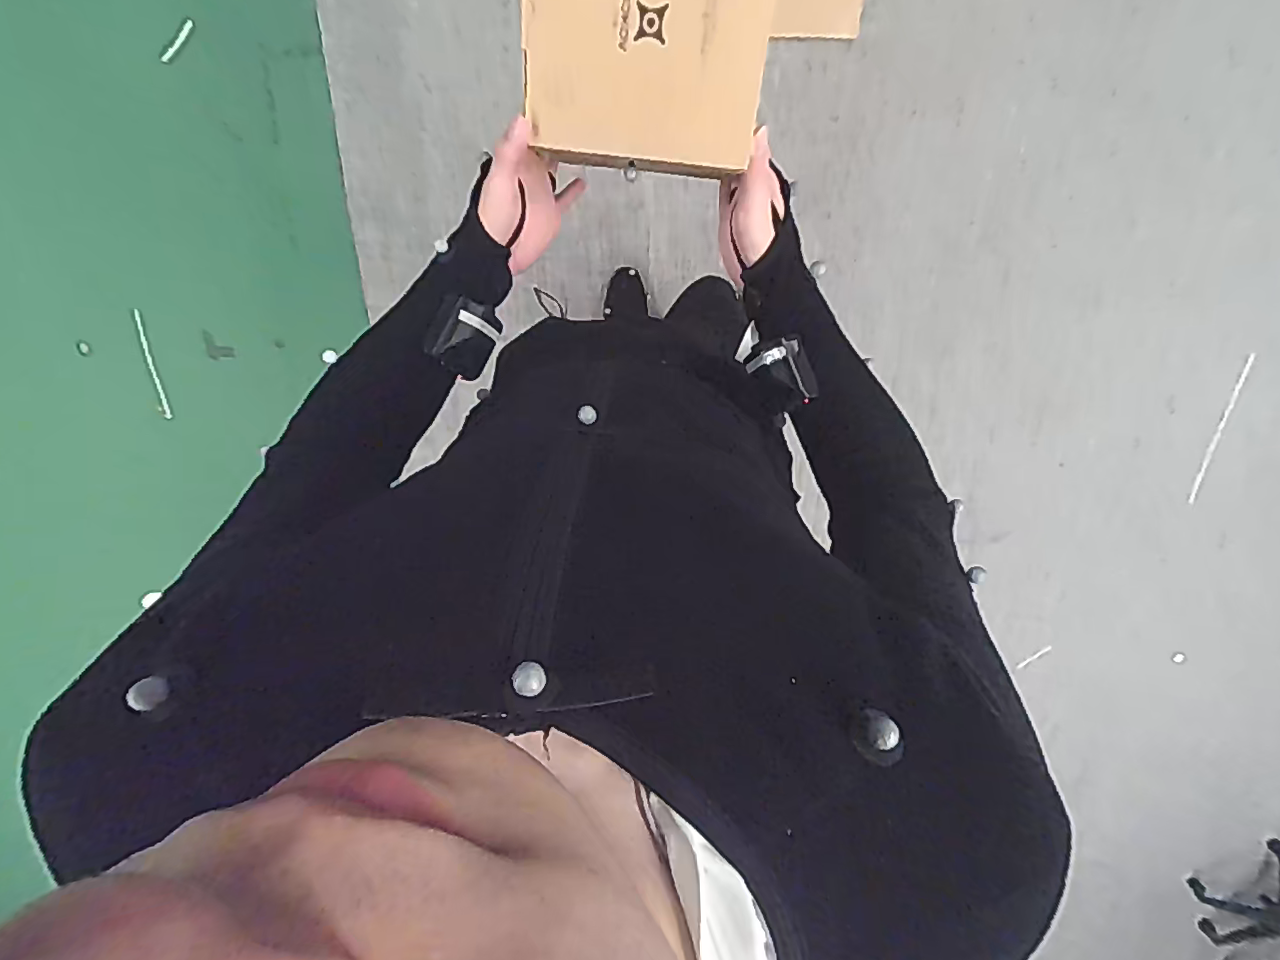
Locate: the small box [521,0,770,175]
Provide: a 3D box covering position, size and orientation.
[{"bbox_3d":[0.009,-0.360,0.453,0.179,0.176,0.168,7,117,2],"label":"small box"}]

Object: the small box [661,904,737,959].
[{"bbox_3d":[0.141,1.182,1.329,0.179,0.176,0.168,1,114,1],"label":"small box"}]
